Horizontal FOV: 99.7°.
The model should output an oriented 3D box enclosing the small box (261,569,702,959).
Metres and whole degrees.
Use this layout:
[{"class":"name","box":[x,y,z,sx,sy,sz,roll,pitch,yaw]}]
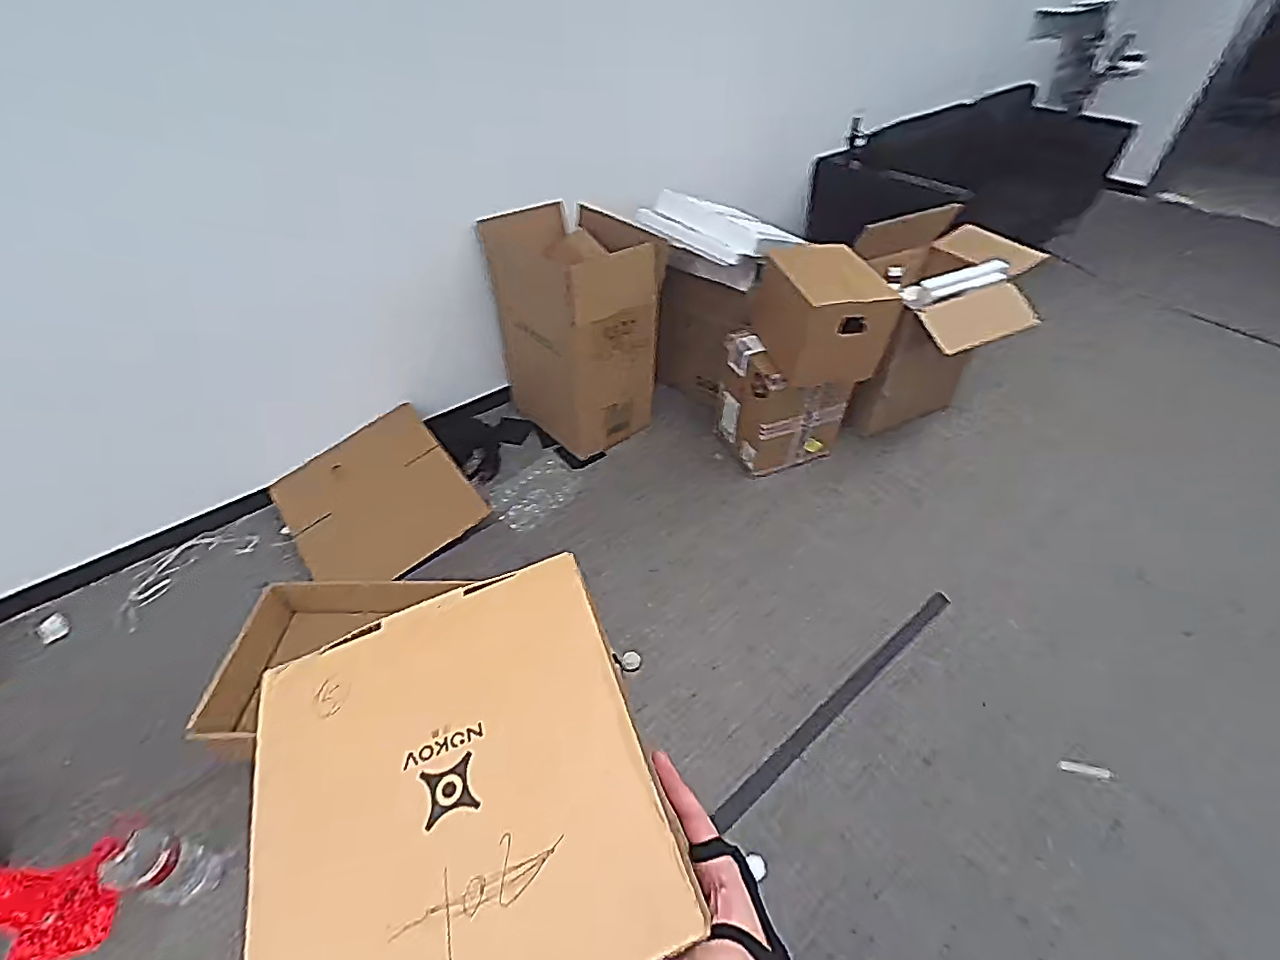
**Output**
[{"class":"small box","box":[-0.074,0.186,0.306,0.168,0.176,0.179,-20,53,-8]}]
